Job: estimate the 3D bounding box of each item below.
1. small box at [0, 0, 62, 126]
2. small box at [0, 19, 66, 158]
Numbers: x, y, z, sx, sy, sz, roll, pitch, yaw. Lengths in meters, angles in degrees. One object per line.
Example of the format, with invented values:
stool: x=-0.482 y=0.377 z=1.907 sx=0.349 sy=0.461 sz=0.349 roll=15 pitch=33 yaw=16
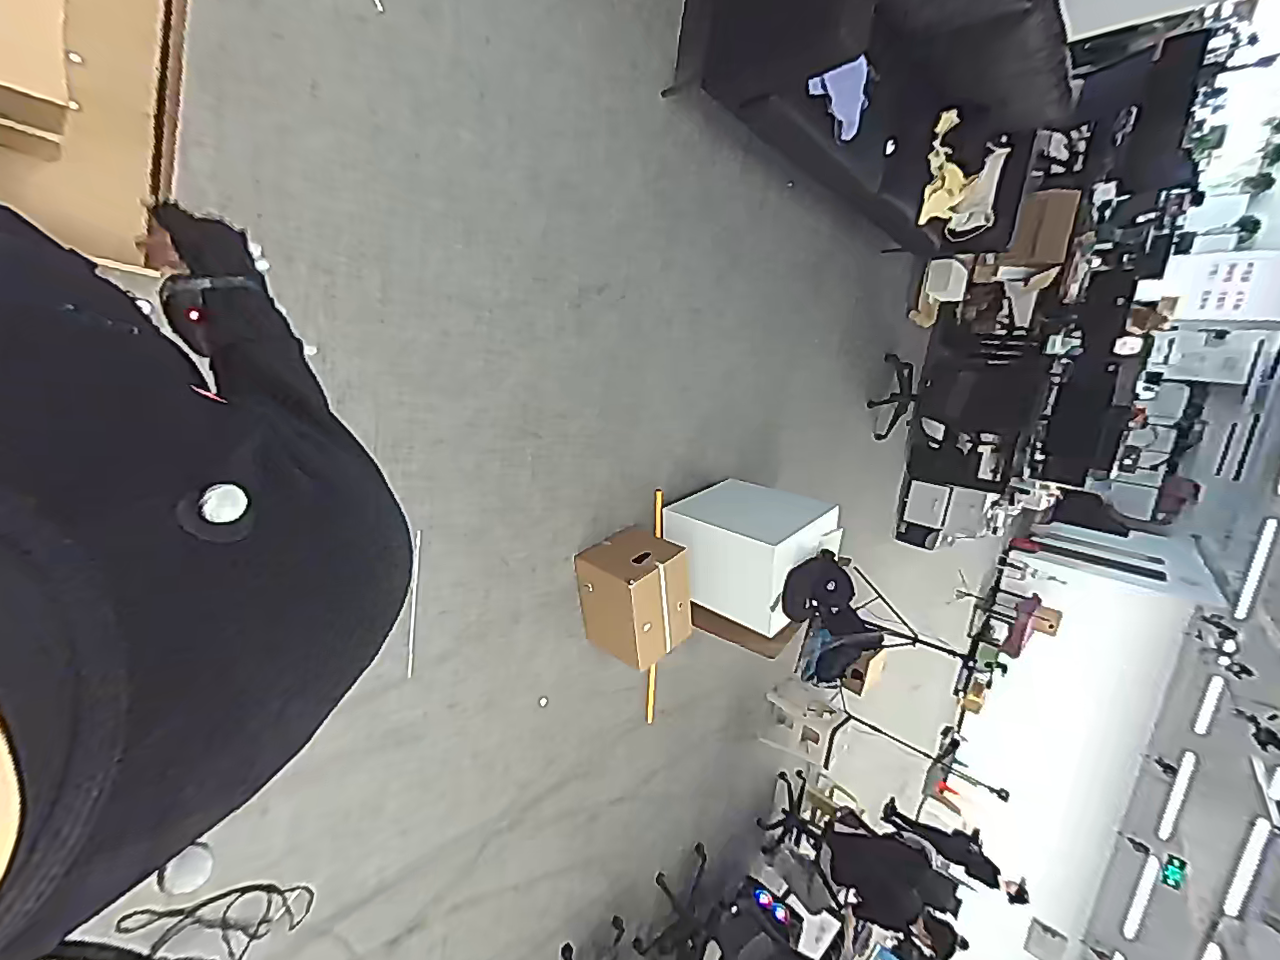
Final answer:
small box: x=-0.858 y=-0.589 z=0.687 sx=0.168 sy=0.176 sz=0.179 roll=-4 pitch=104 yaw=-48
small box: x=-0.976 y=-0.614 z=0.799 sx=0.168 sy=0.176 sz=0.179 roll=1 pitch=101 yaw=-48
